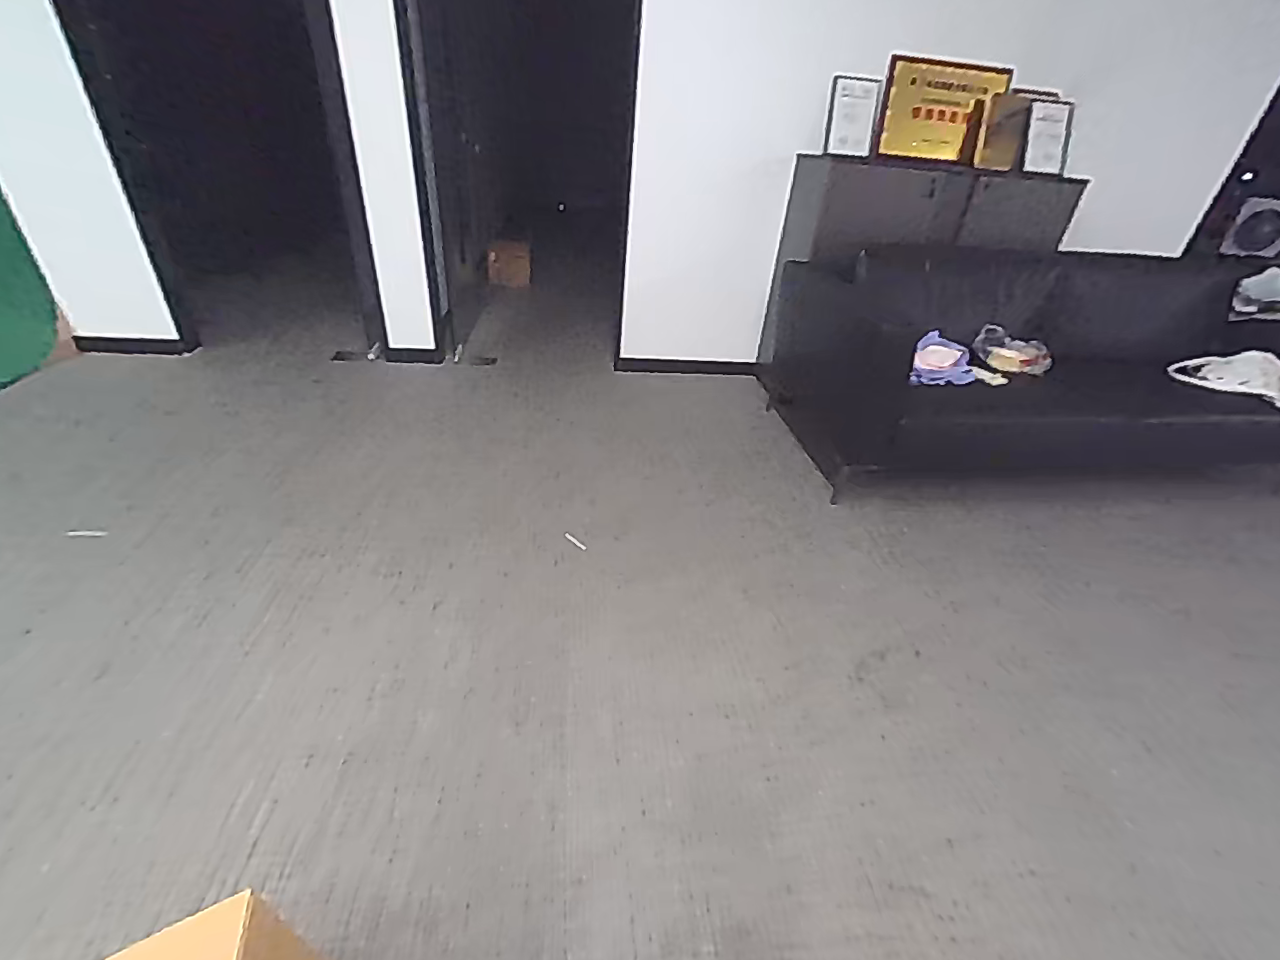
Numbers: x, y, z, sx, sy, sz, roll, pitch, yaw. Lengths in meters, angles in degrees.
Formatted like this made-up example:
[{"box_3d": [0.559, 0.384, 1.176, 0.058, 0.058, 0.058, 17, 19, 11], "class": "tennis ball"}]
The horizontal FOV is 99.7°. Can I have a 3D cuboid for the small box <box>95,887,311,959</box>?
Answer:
[{"box_3d": [-0.327, 0.443, 0.364, 0.168, 0.176, 0.179, -20, 30, -17], "class": "small box"}]
